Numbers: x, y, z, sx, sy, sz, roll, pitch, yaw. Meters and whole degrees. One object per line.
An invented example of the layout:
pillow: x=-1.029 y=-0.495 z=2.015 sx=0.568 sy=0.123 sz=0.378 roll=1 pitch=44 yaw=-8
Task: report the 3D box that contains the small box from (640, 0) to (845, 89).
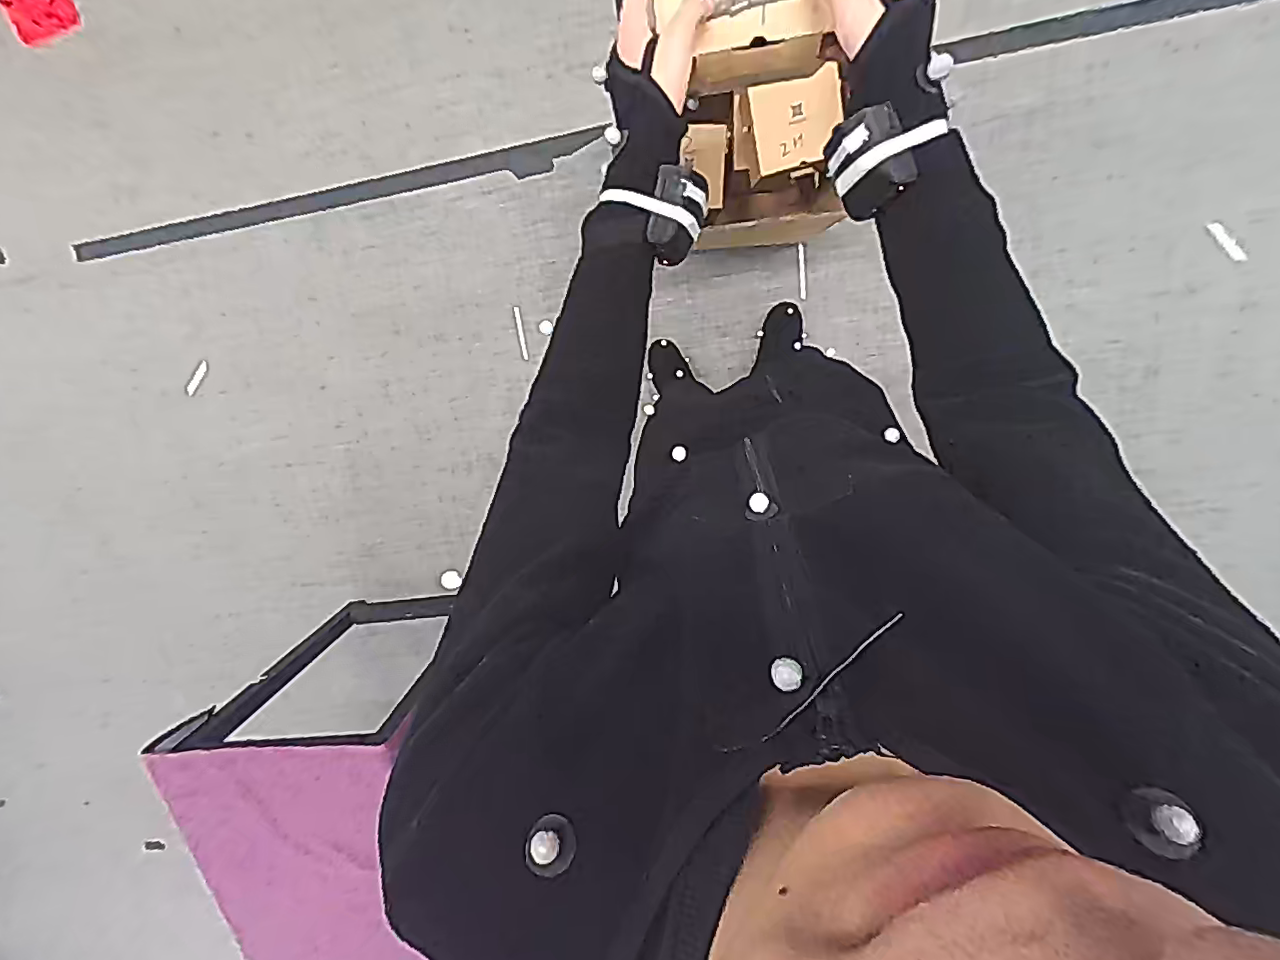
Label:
small box: x=0.081 y=-0.471 z=0.481 sx=0.168 sy=0.176 sz=0.179 roll=-5 pitch=115 yaw=6
